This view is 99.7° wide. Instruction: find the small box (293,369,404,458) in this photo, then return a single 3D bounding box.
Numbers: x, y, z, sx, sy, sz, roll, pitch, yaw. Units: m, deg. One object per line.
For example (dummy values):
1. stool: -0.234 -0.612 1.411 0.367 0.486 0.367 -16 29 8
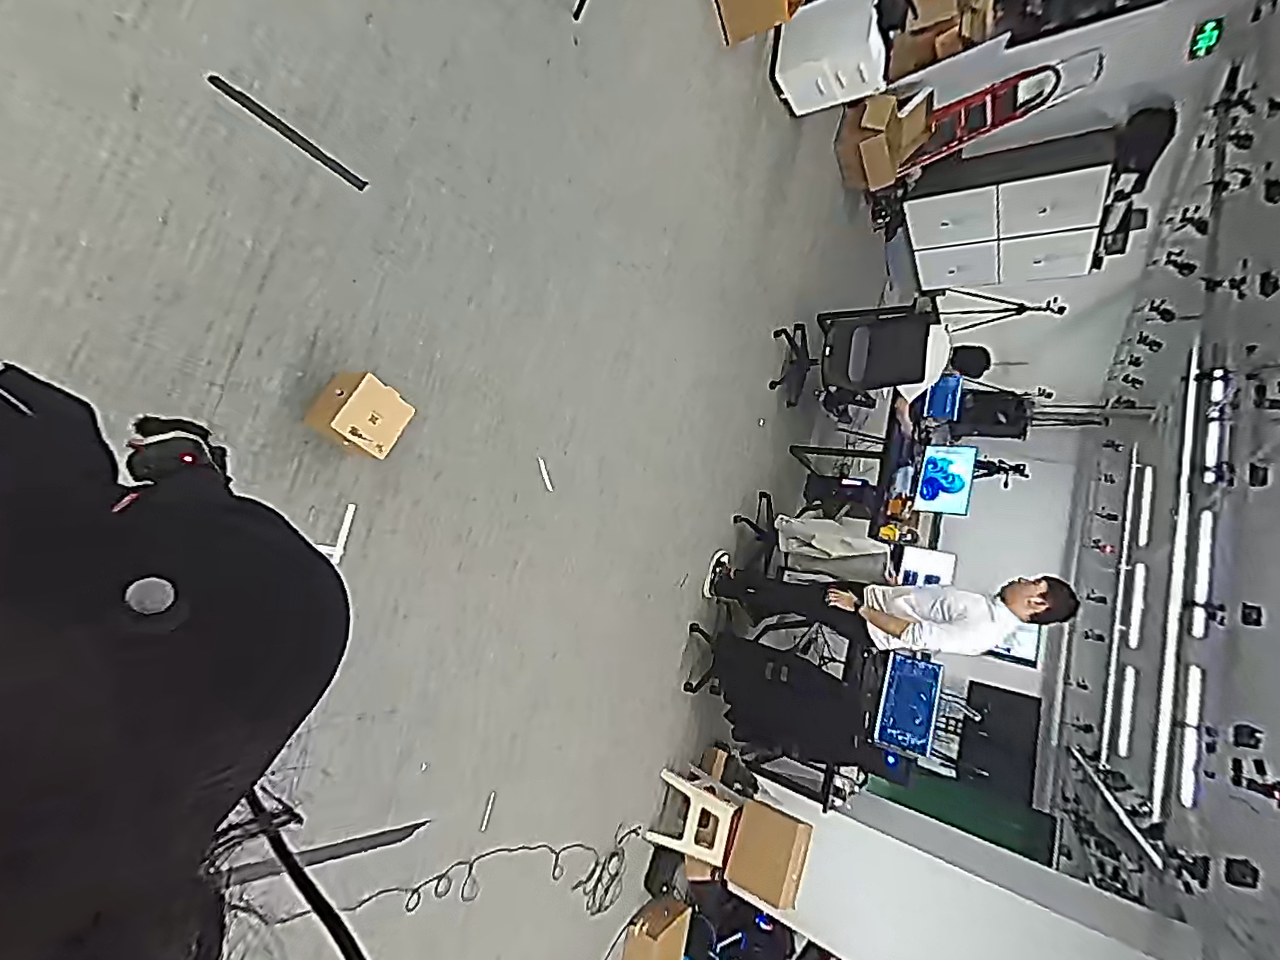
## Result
1. small box: -0.785 -0.179 1.453 0.168 0.176 0.179 50 56 -47
